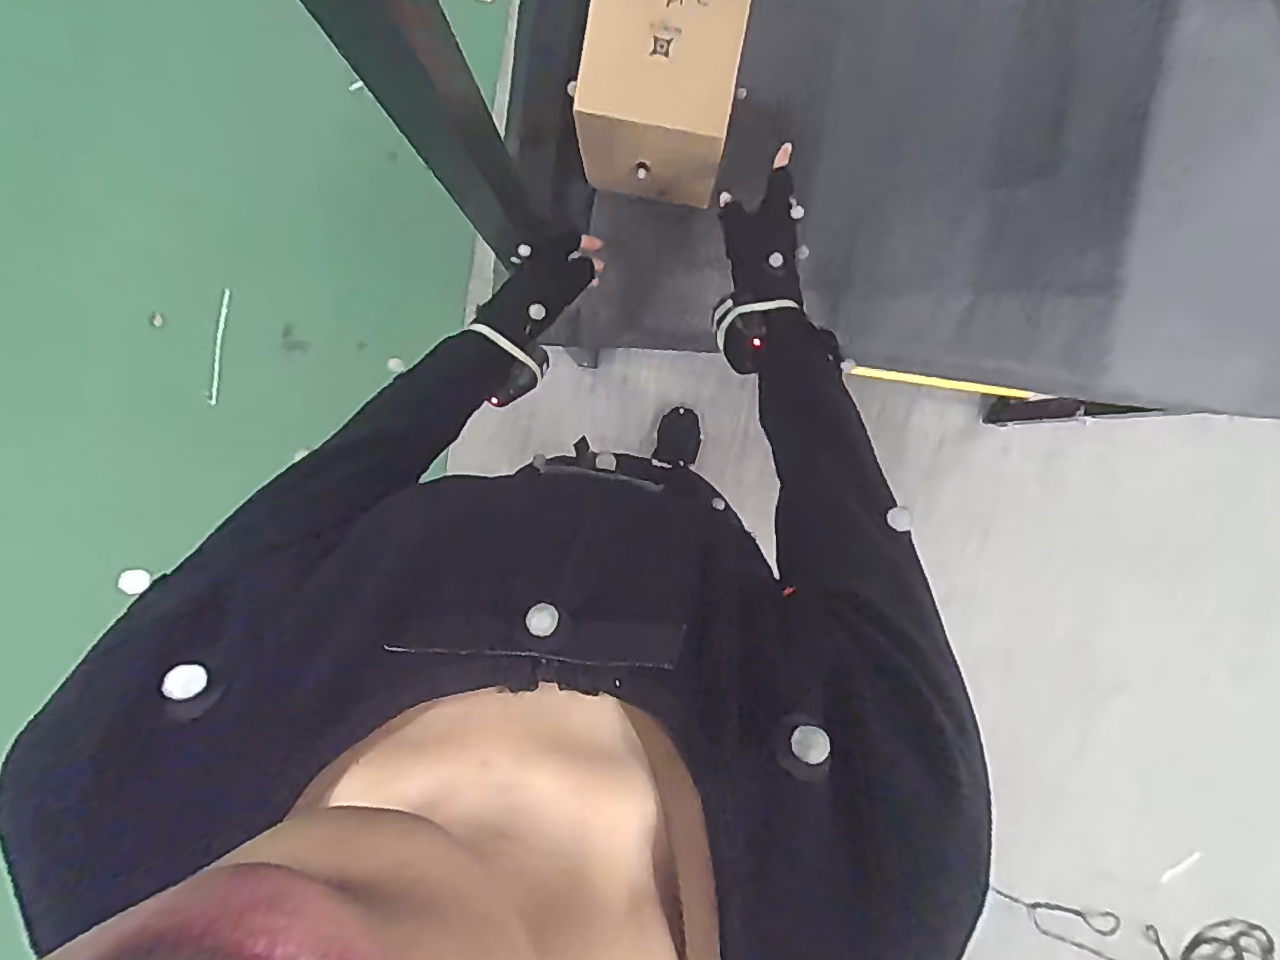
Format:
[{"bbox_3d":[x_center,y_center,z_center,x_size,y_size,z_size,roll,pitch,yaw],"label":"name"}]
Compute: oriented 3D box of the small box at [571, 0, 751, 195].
[{"bbox_3d":[0.025,-0.463,0.629,0.168,0.176,0.179,10,93,-1],"label":"small box"}]
